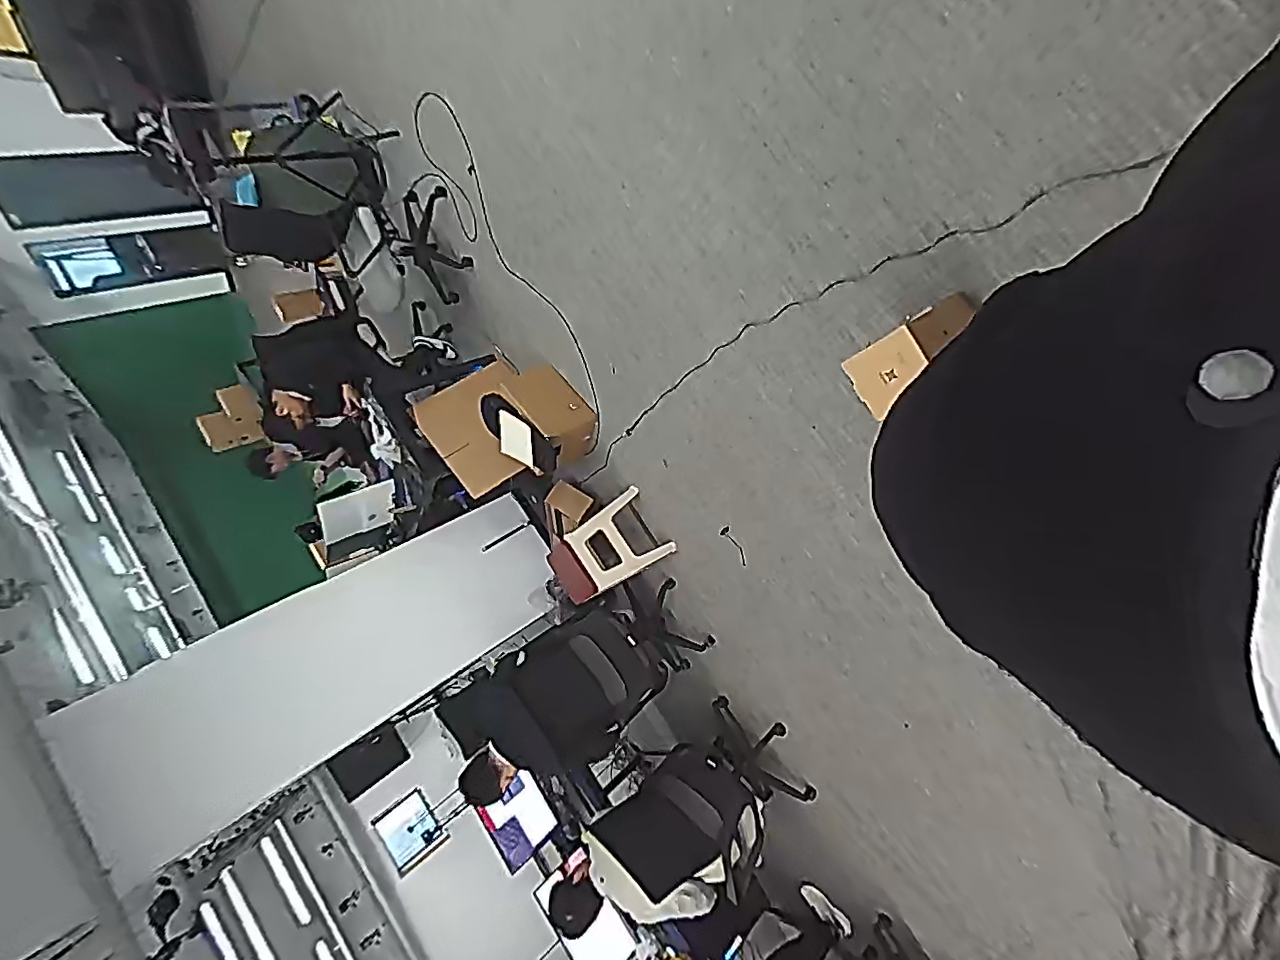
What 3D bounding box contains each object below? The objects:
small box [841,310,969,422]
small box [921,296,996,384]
[{"bbox_3d":[0.609,-0.262,1.242,0.168,0.176,0.179,59,144,1],"label":"small box"},{"bbox_3d":[0.731,-0.325,1.332,0.179,0.176,0.168,56,145,5],"label":"small box"}]
